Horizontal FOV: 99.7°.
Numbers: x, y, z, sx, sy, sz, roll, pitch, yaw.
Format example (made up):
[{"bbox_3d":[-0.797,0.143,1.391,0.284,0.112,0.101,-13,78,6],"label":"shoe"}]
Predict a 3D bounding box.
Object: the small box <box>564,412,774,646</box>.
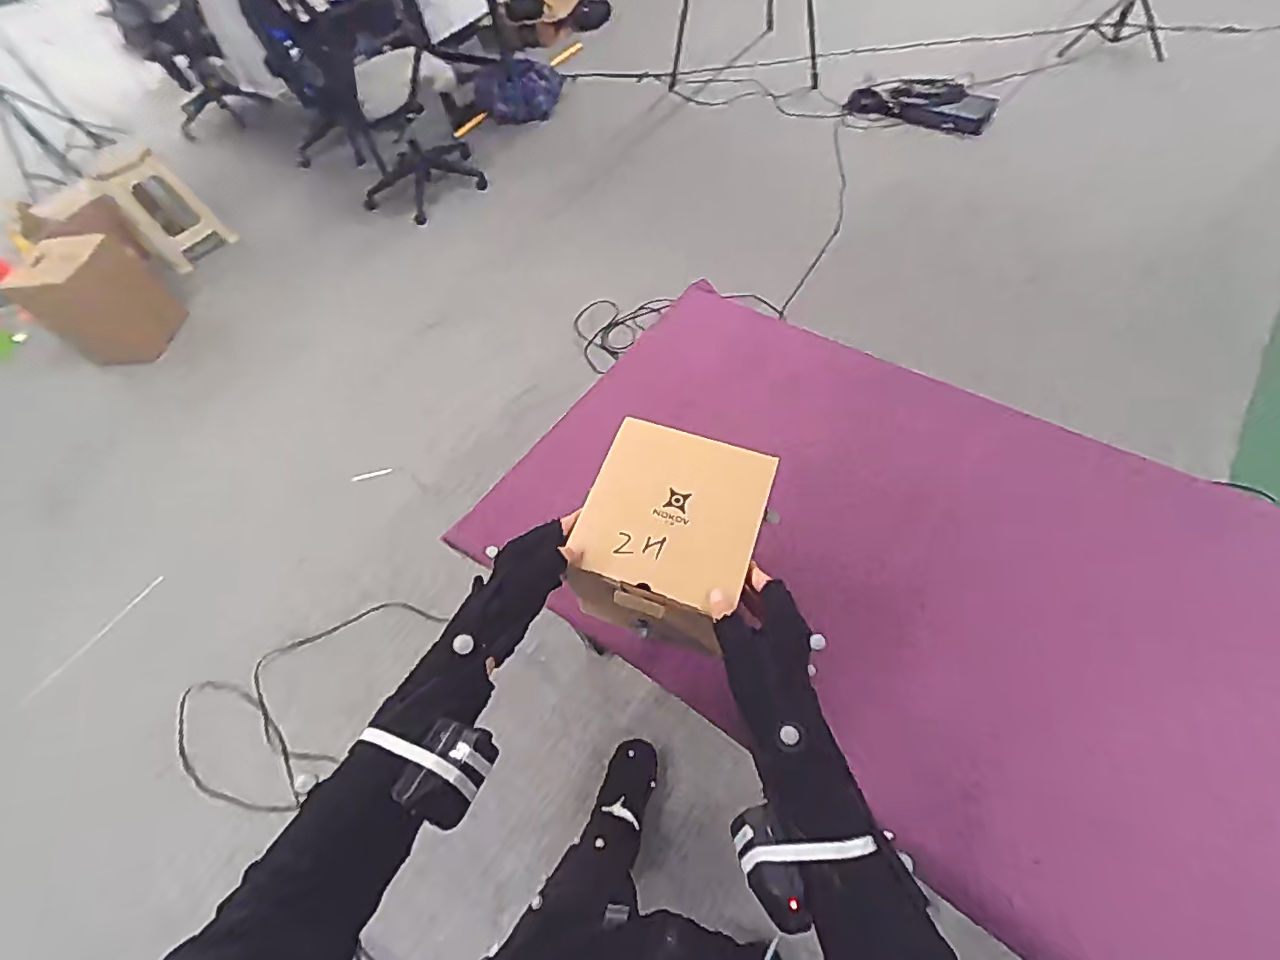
[{"bbox_3d":[0.035,0.060,0.597,0.168,0.176,0.179,17,64,12],"label":"small box"}]
